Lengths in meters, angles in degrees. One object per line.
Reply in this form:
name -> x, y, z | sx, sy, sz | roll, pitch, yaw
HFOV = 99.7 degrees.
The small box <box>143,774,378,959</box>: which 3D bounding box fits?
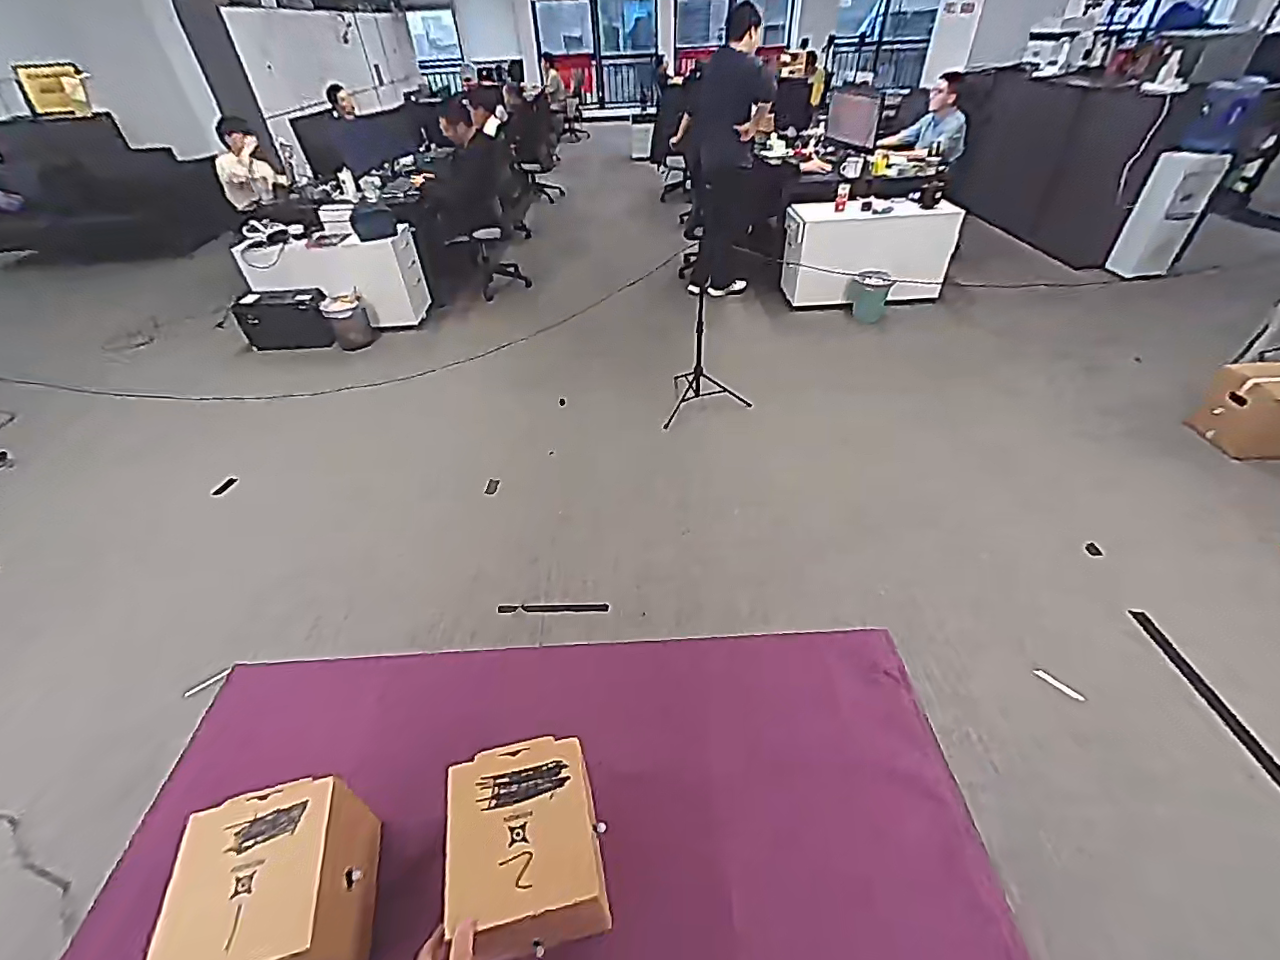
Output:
small box -> -0.434, 0.497, 0.654 | 0.168, 0.176, 0.179 | -12, 42, -10
